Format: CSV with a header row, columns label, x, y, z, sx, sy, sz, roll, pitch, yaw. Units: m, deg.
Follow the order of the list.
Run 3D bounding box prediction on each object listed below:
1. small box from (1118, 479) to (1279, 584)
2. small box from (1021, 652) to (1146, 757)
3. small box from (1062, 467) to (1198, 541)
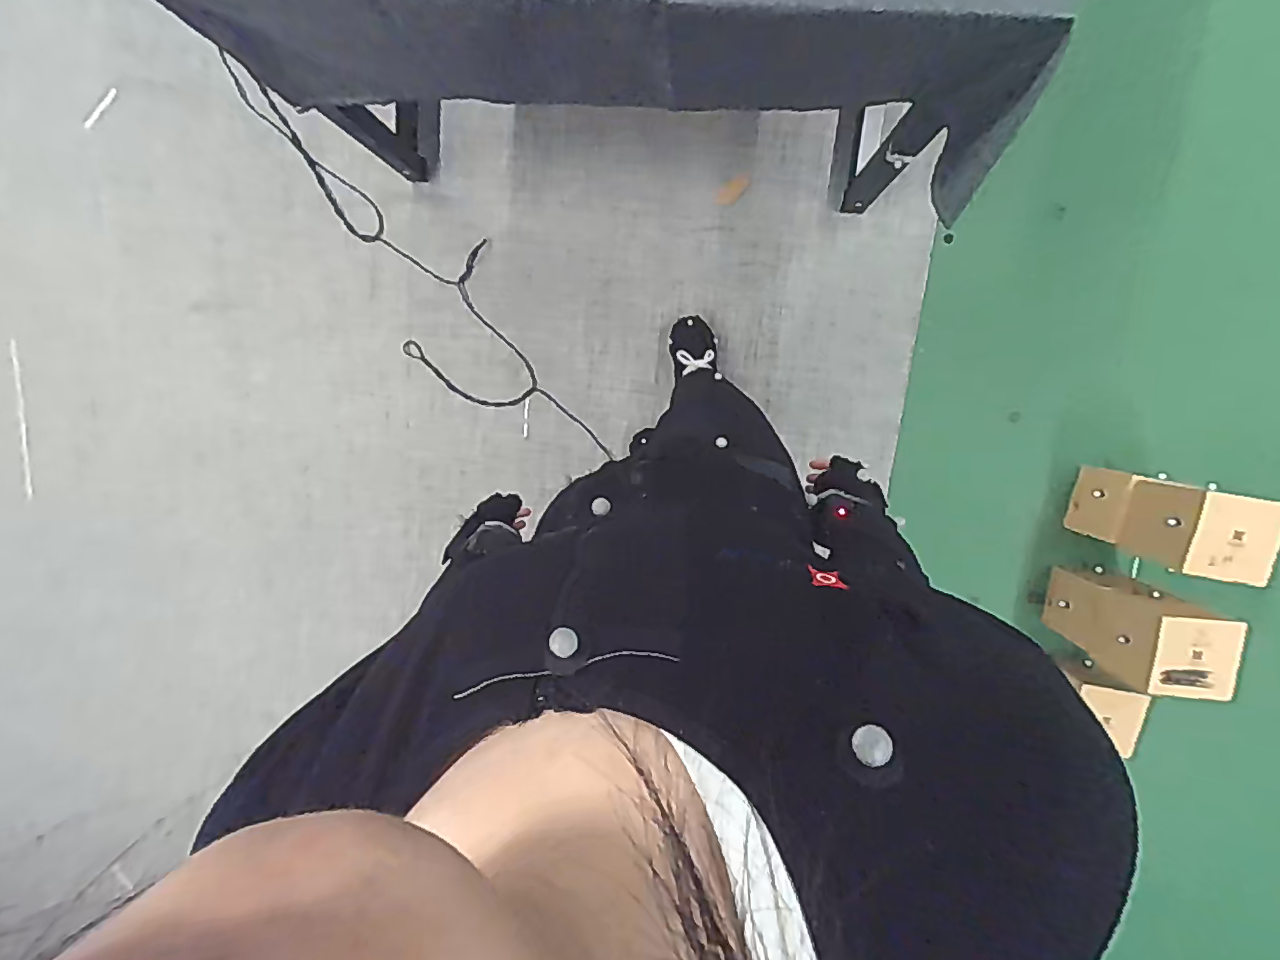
label,x,y,z,sx,sy,sz,roll,pitch,yaw
small box,1.186,0.101,1.158,0.168,0.176,0.179,10,99,3
small box,1.135,0.575,1.401,0.168,0.176,0.179,10,99,2
small box,1.189,0.067,1.320,0.179,0.176,0.168,11,99,2
